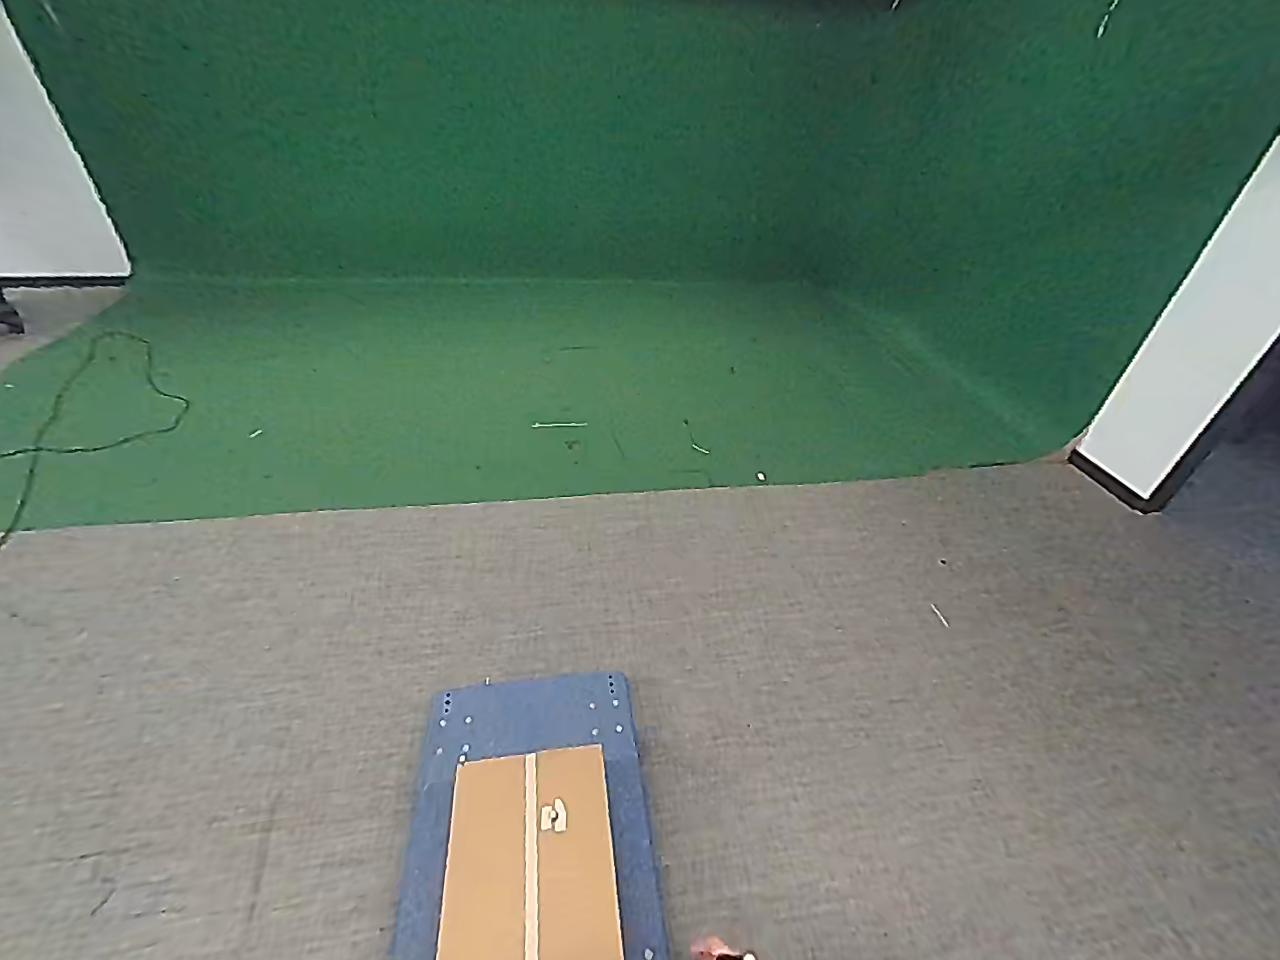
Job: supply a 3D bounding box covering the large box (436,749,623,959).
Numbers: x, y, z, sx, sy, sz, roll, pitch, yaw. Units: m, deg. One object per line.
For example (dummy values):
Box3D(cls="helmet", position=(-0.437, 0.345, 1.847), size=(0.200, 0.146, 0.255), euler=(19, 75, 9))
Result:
Box3D(cls="large box", position=(-0.219, 0.846, 1.111), size=(0.320, 0.320, 0.408), euler=(-3, 37, -10))
